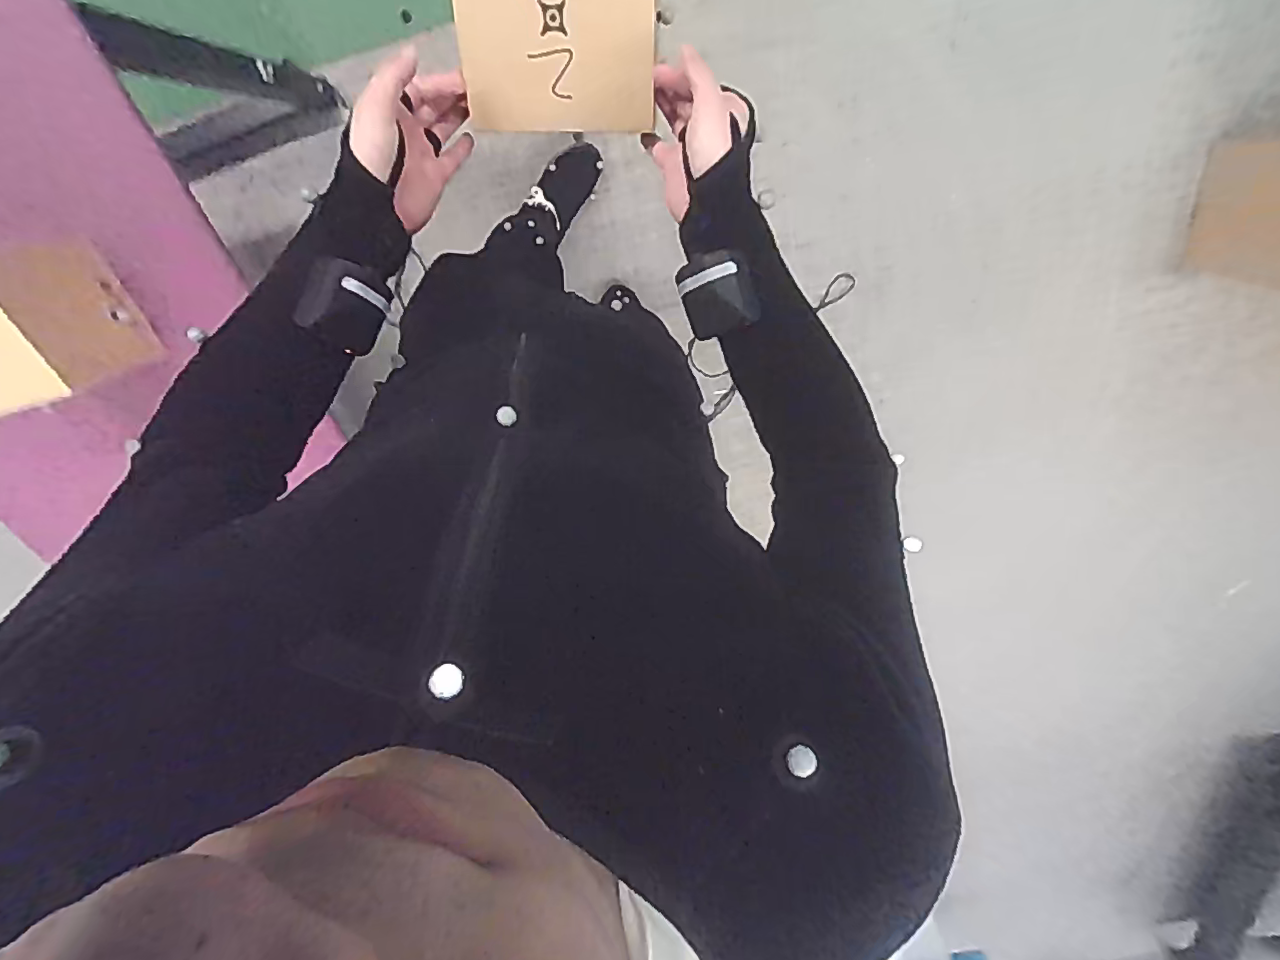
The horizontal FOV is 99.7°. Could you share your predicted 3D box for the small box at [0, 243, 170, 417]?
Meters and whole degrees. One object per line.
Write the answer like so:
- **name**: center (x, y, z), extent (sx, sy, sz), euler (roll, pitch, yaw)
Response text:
- **small box**: center (-0.787, -0.194, 0.701), extent (0.179, 0.176, 0.168), euler (-12, 120, 7)
